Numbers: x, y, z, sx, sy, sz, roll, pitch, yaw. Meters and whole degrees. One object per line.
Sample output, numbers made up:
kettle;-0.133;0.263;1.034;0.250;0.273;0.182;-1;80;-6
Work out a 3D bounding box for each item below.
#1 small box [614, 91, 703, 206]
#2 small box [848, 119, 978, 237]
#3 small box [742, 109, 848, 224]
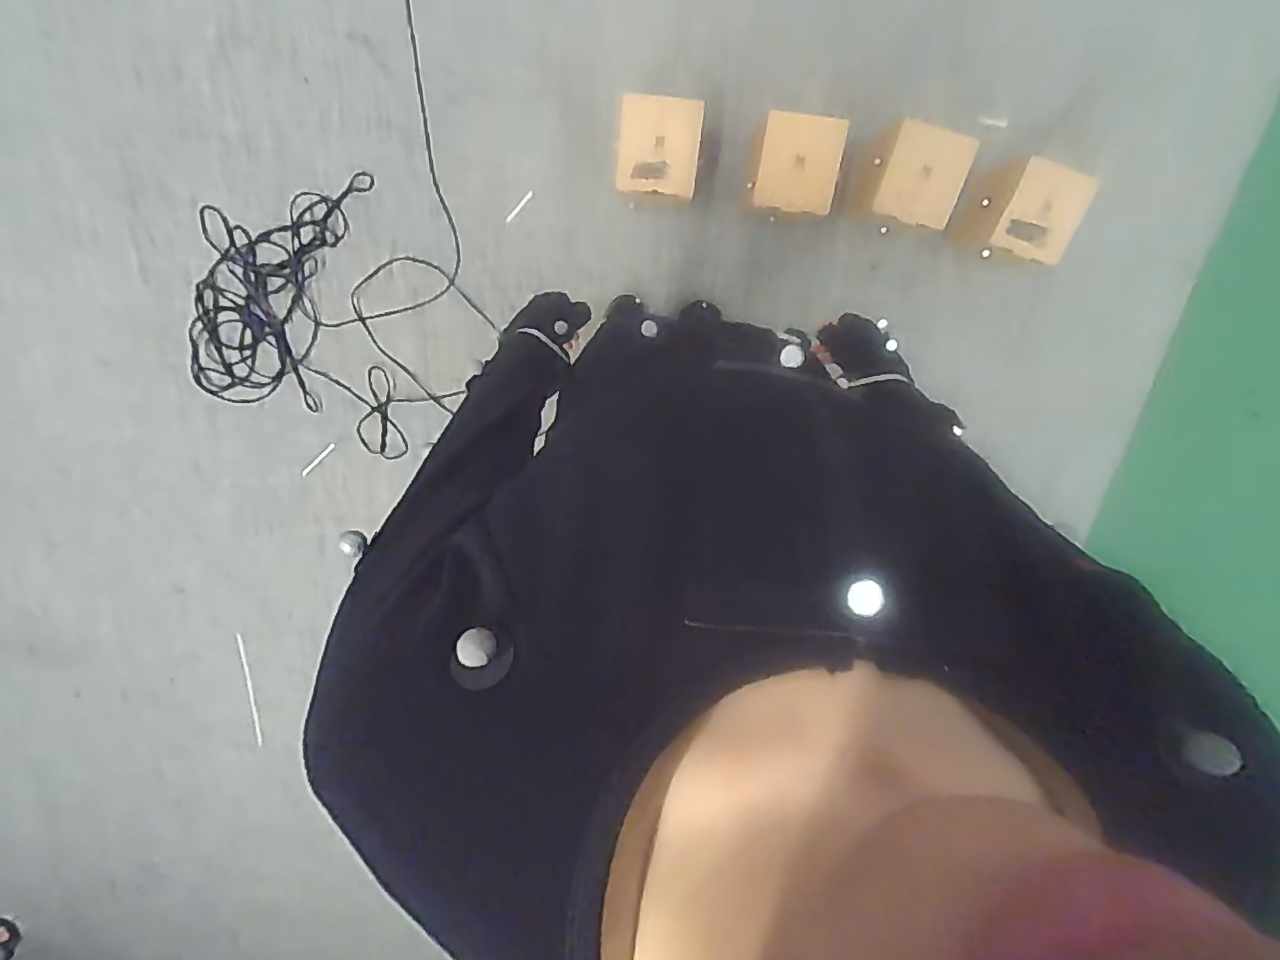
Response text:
small box;0.038;-0.704;1.170;0.168;0.176;0.179;6;109;-1
small box;0.583;-0.648;1.182;0.168;0.176;0.179;15;110;-4
small box;0.327;-0.673;1.179;0.168;0.176;0.179;7;111;-2
